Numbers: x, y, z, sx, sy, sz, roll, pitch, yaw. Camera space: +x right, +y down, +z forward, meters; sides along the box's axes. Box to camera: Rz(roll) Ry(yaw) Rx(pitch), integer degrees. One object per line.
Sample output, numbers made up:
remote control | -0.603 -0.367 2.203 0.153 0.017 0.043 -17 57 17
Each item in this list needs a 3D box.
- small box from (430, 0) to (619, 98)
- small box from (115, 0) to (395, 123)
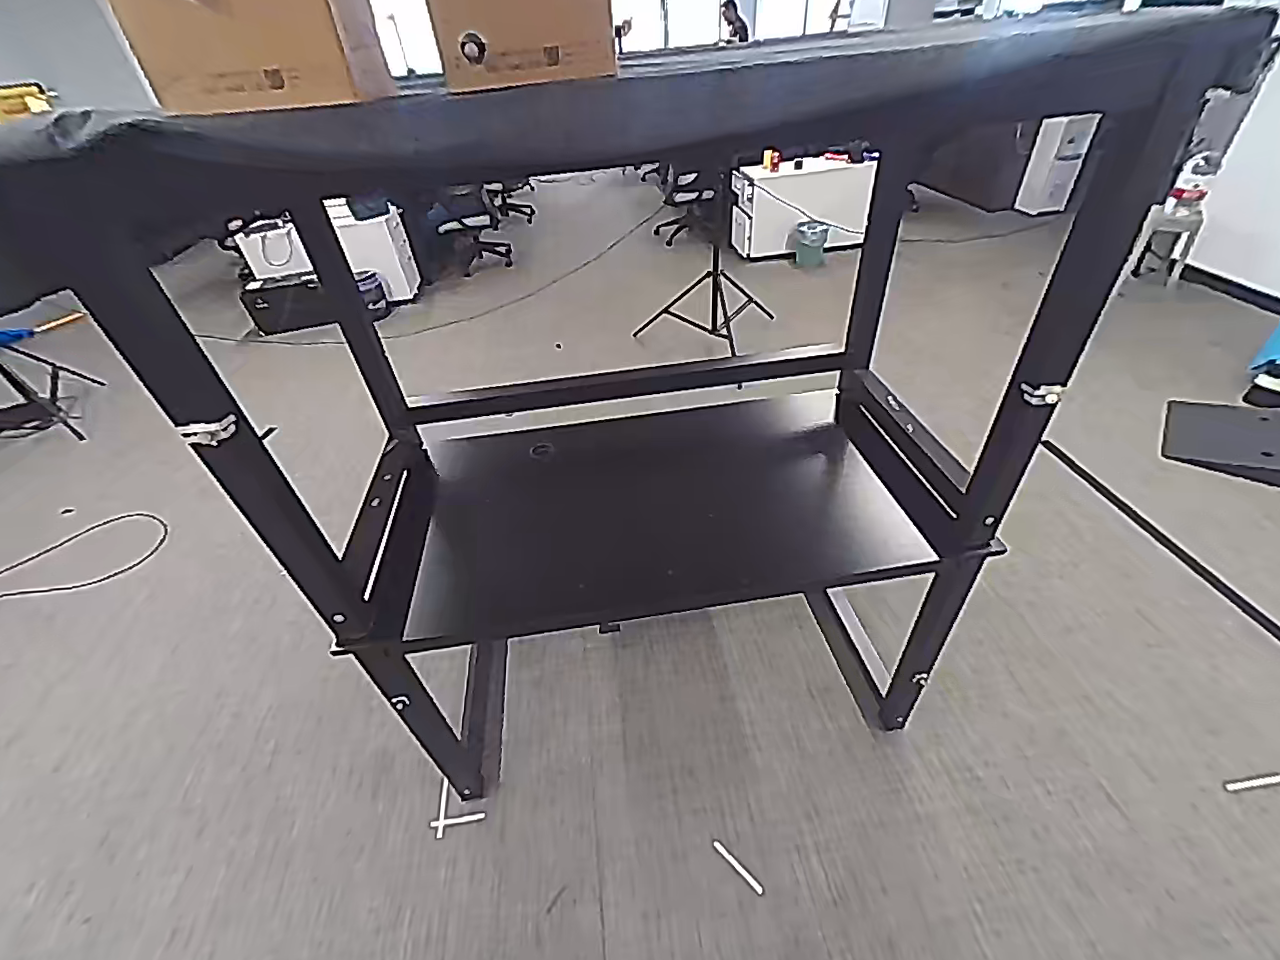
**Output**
small box | -0.113 -0.489 0.534 0.168 0.176 0.179 -7 37 -1
small box | -0.350 -0.438 0.501 0.168 0.176 0.179 -7 37 -4
